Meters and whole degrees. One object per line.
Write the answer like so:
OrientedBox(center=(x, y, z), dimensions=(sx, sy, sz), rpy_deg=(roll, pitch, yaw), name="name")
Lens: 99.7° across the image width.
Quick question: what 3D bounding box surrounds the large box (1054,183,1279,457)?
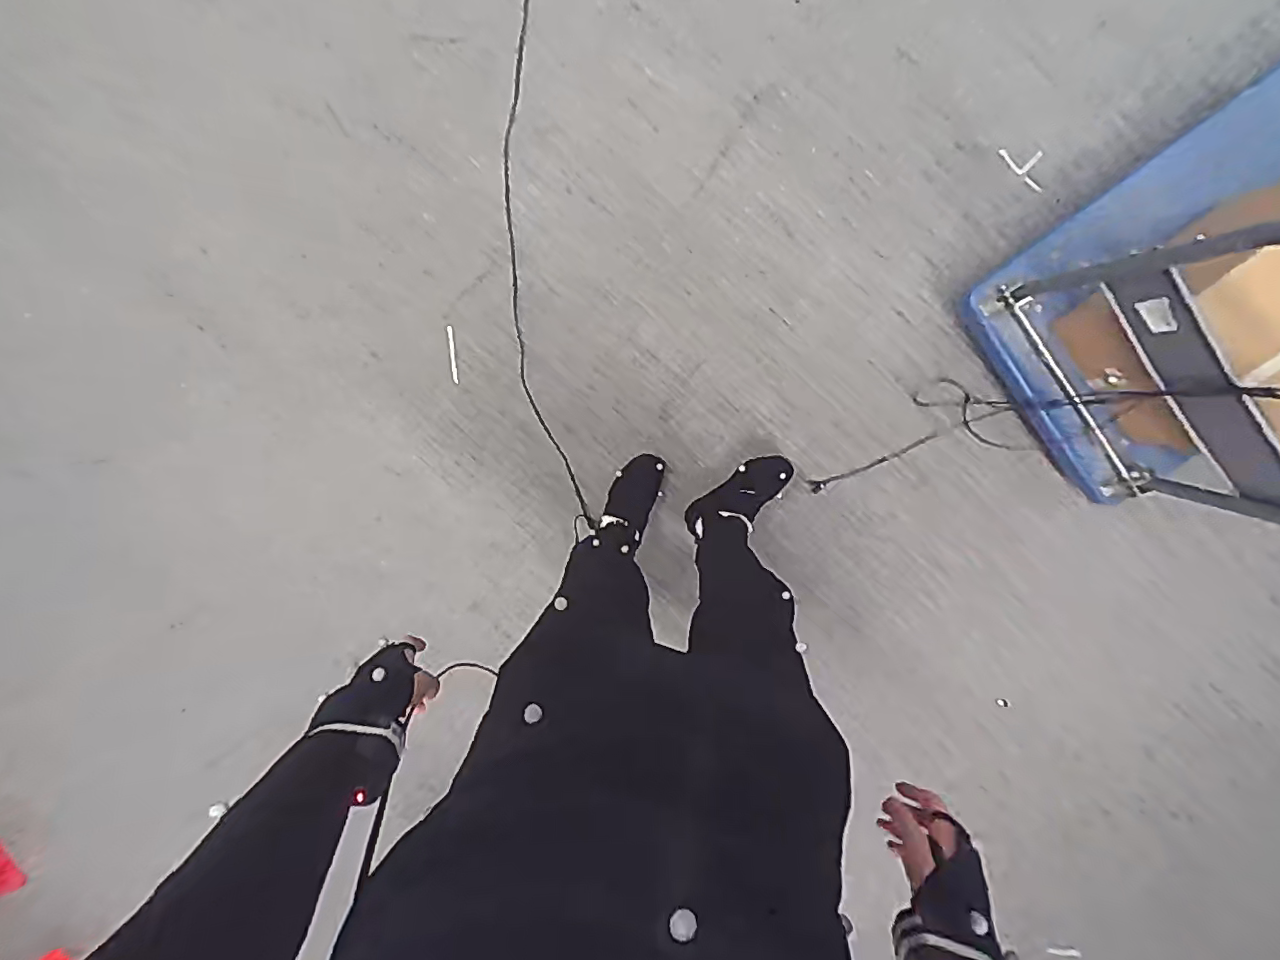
OrientedBox(center=(1.084, -0.290, 0.954), dimensions=(0.408, 0.320, 0.320), rpy_deg=(-38, 96, 8), name="large box")
